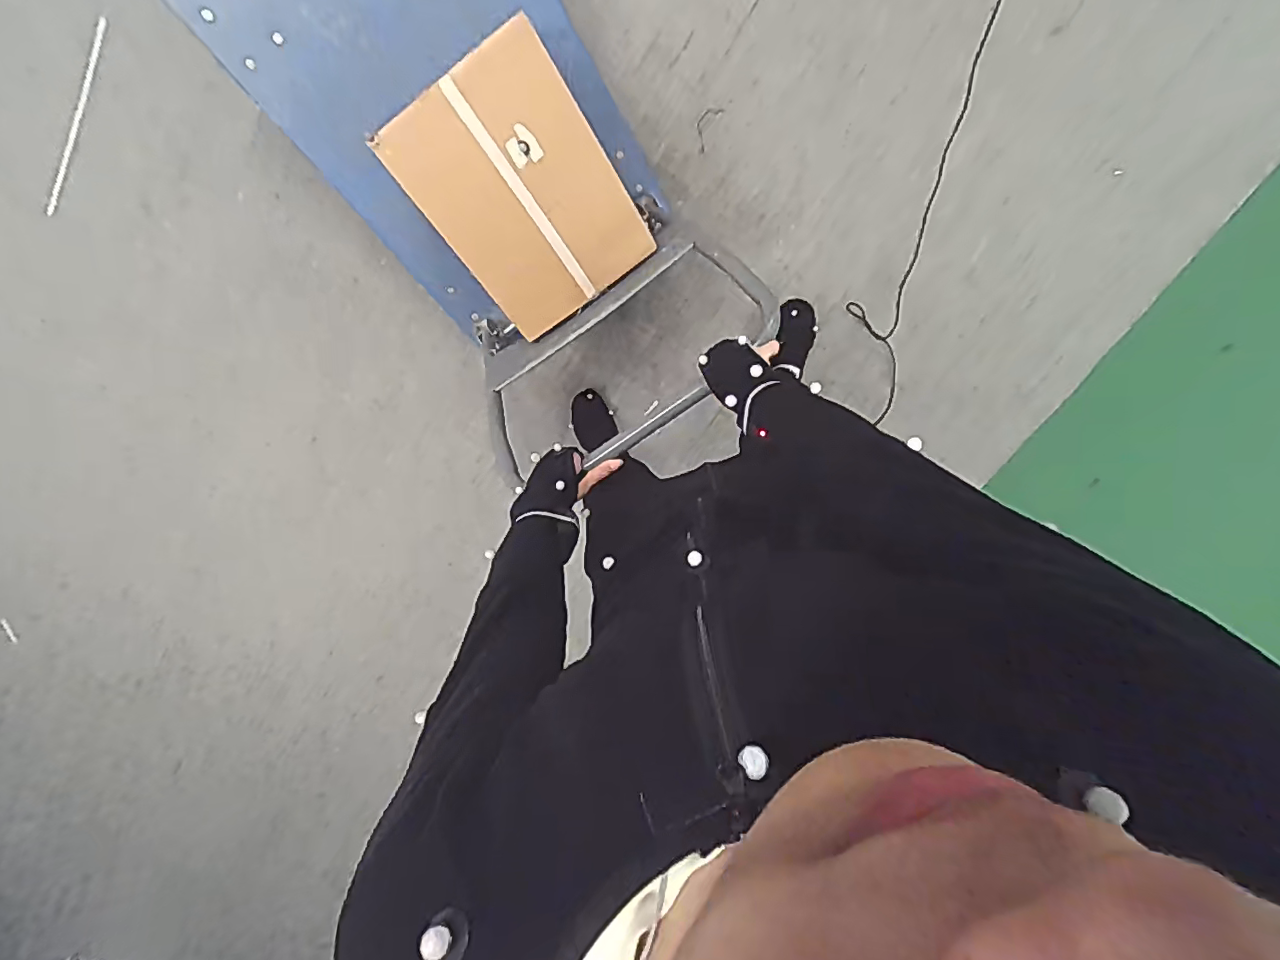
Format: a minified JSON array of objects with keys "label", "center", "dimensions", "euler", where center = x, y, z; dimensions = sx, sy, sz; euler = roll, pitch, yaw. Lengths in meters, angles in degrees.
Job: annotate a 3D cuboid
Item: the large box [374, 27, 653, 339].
[{"label":"large box","center":[-0.231,-0.569,1.082],"dimensions":[0.320,0.320,0.408],"euler":[-34,124,9]}]
